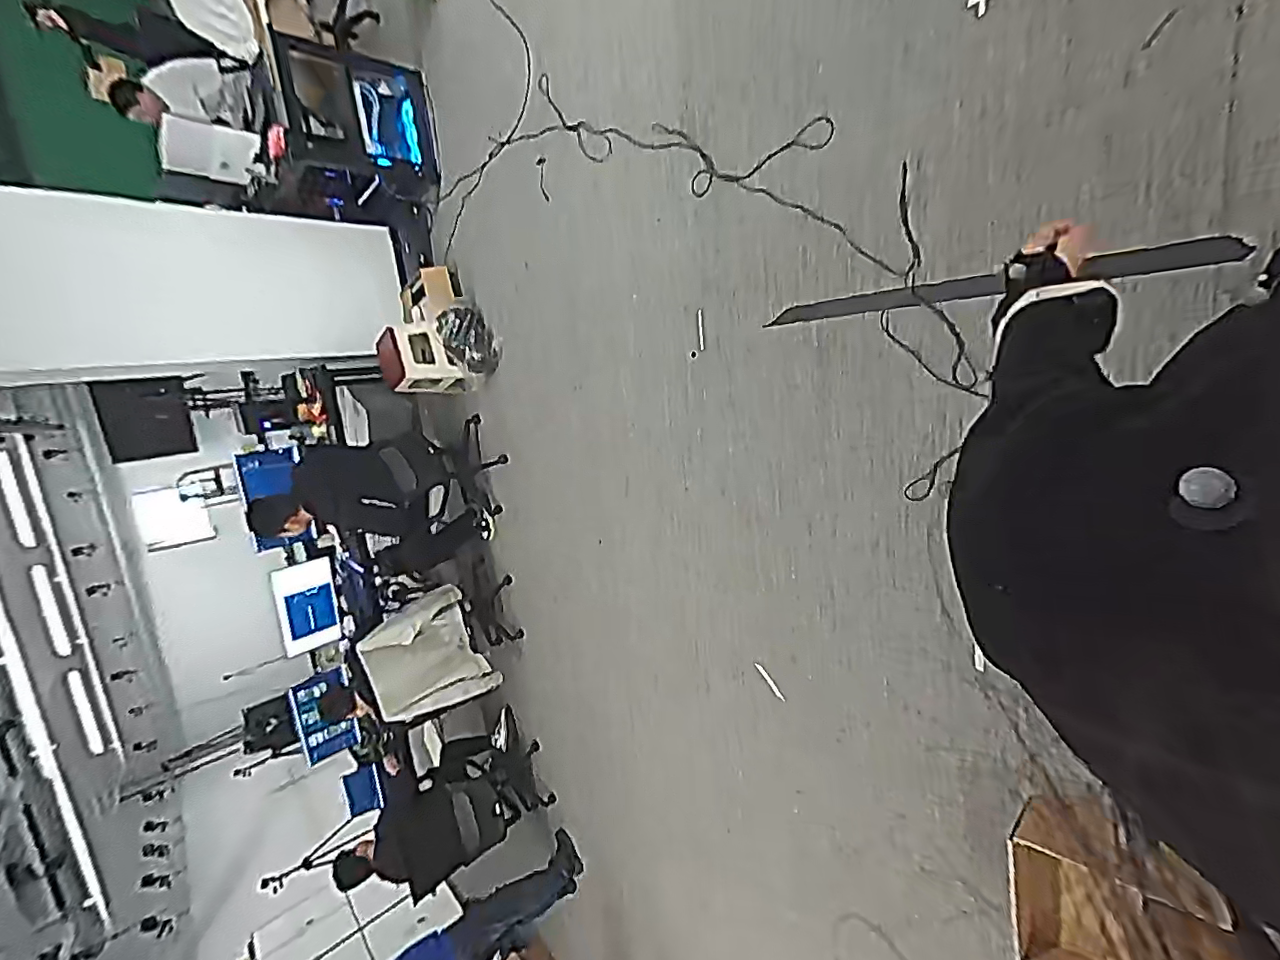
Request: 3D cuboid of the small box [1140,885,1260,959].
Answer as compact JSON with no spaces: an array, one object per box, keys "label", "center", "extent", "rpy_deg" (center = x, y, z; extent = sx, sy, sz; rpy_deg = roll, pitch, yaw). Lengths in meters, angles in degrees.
[{"label":"small box","center":[1.184,1.020,1.139],"extent":[0.168,0.176,0.179],"rpy_deg":[-7,96,49]}]
